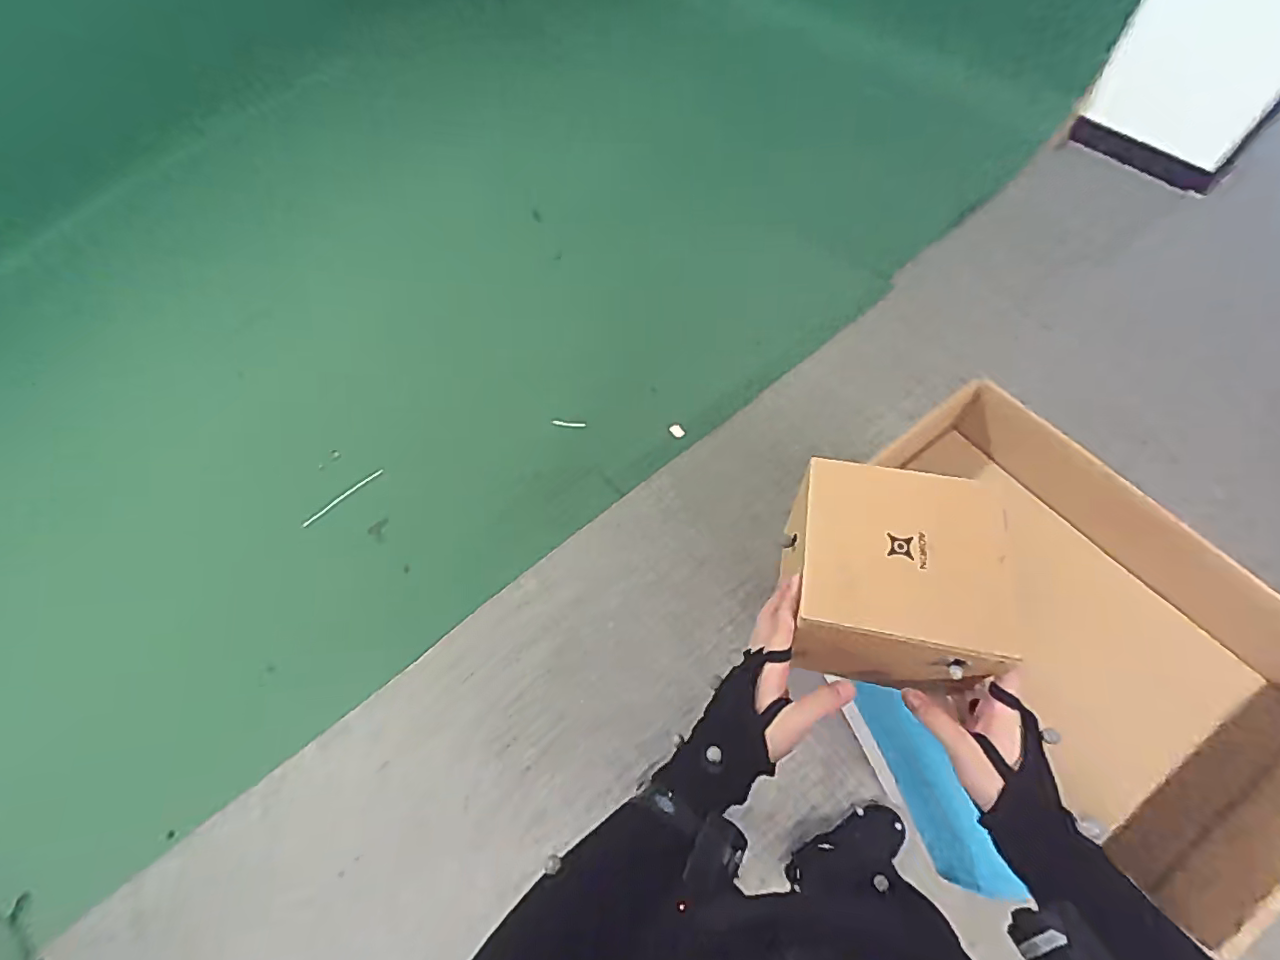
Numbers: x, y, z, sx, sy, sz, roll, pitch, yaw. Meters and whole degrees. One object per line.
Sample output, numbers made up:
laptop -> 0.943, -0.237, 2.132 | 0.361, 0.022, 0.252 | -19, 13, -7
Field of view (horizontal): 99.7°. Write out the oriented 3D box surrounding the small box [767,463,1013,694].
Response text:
small box -> 0.230, 0.105, 0.543 | 0.179, 0.176, 0.168 | 9, 60, 8
